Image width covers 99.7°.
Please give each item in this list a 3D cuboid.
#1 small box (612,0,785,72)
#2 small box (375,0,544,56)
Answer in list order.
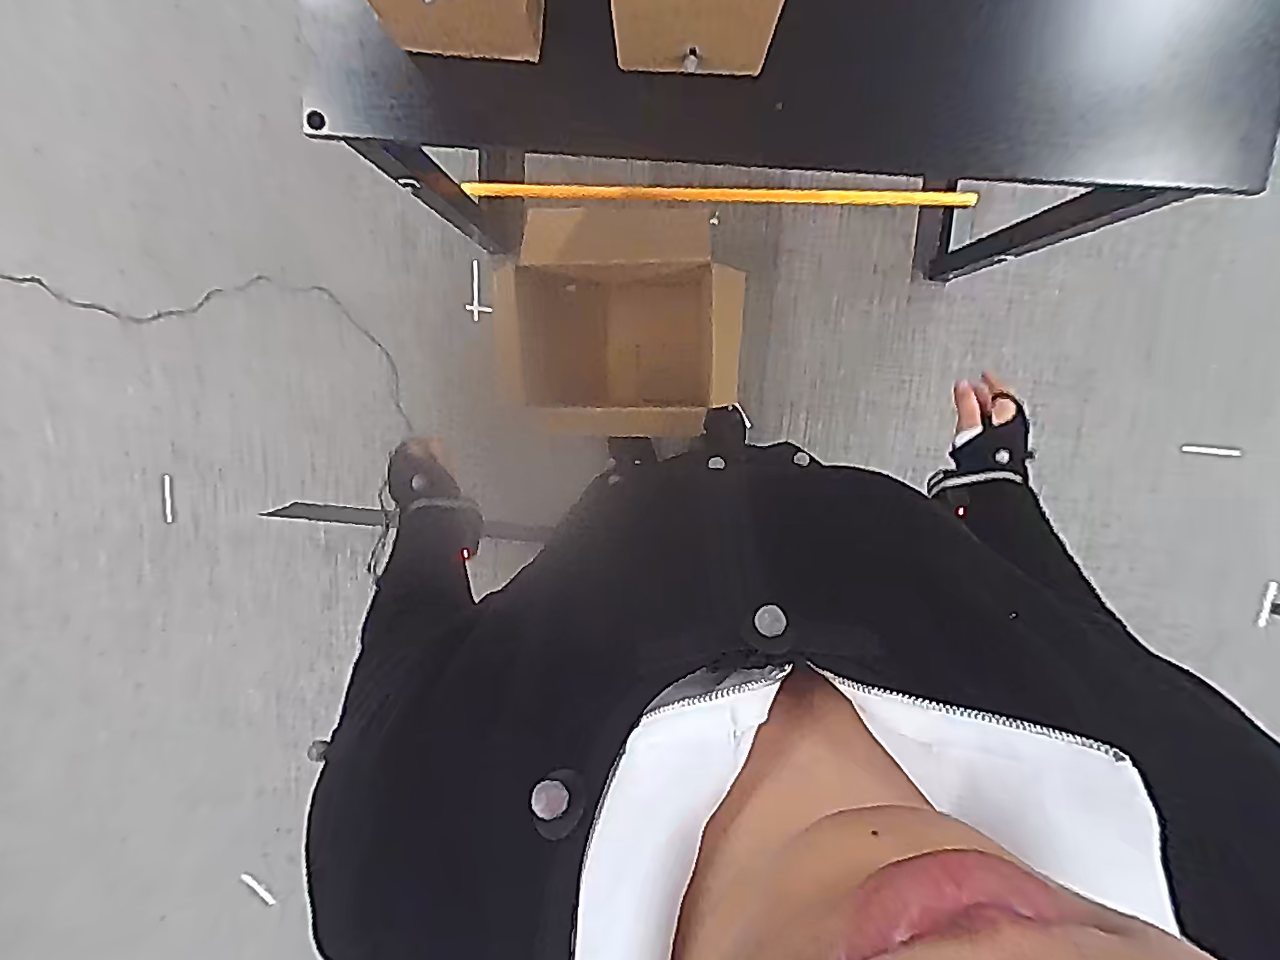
[{"bbox_3d":[0.062,-0.565,0.567,0.179,0.176,0.168,2,100,0],"label":"small box"},{"bbox_3d":[-0.201,-0.587,0.569,0.179,0.176,0.168,4,101,-1],"label":"small box"}]
